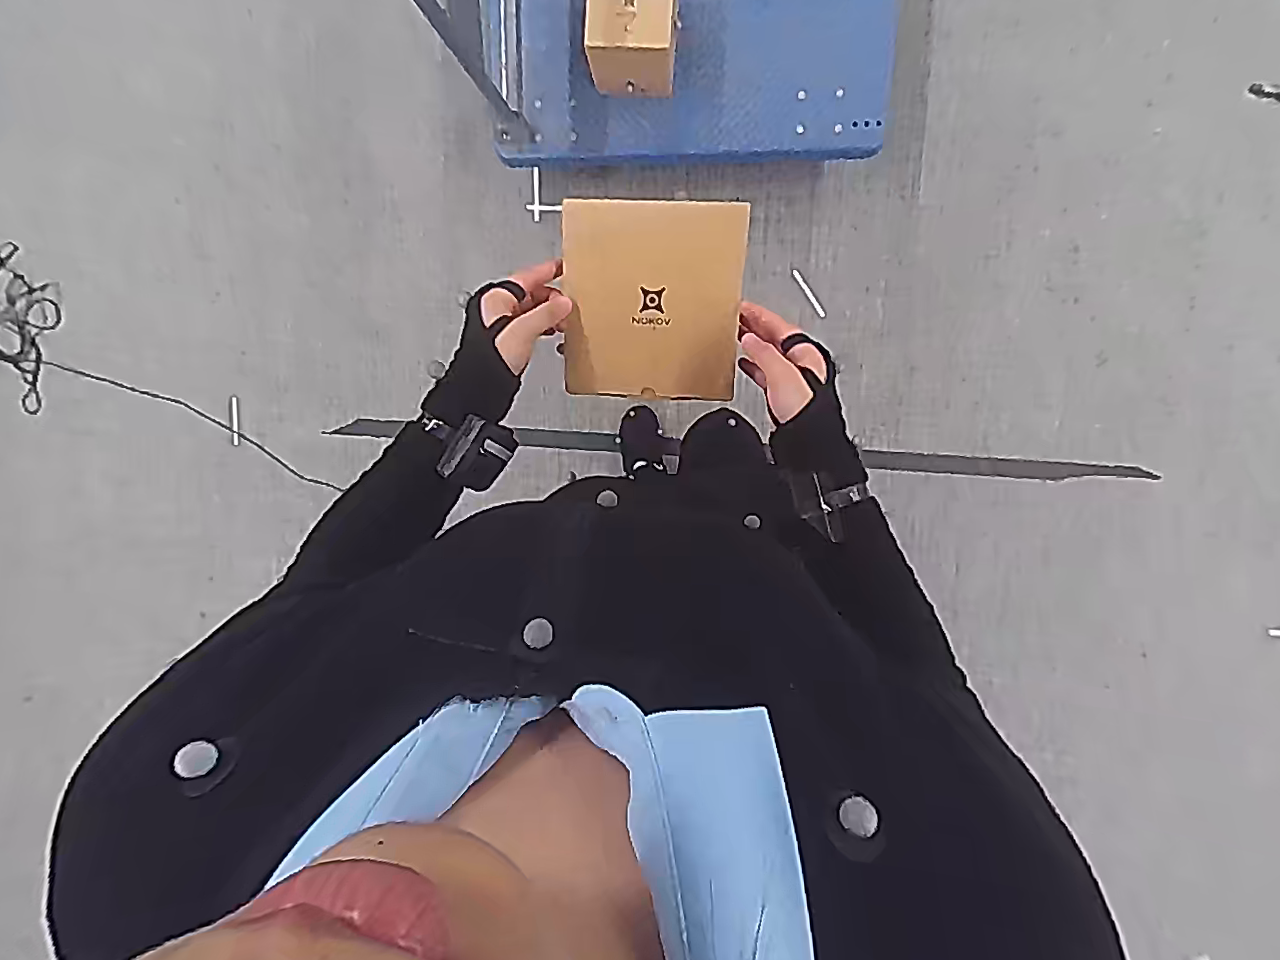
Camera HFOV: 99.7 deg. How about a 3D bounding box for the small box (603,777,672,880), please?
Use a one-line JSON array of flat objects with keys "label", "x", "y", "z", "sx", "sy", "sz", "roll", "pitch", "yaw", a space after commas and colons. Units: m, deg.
[{"label": "small box", "x": -0.001, "y": 0.979, "z": 1.526, "sx": 0.168, "sy": 0.176, "sz": 0.179, "roll": -9, "pitch": 97, "yaw": 4}]
